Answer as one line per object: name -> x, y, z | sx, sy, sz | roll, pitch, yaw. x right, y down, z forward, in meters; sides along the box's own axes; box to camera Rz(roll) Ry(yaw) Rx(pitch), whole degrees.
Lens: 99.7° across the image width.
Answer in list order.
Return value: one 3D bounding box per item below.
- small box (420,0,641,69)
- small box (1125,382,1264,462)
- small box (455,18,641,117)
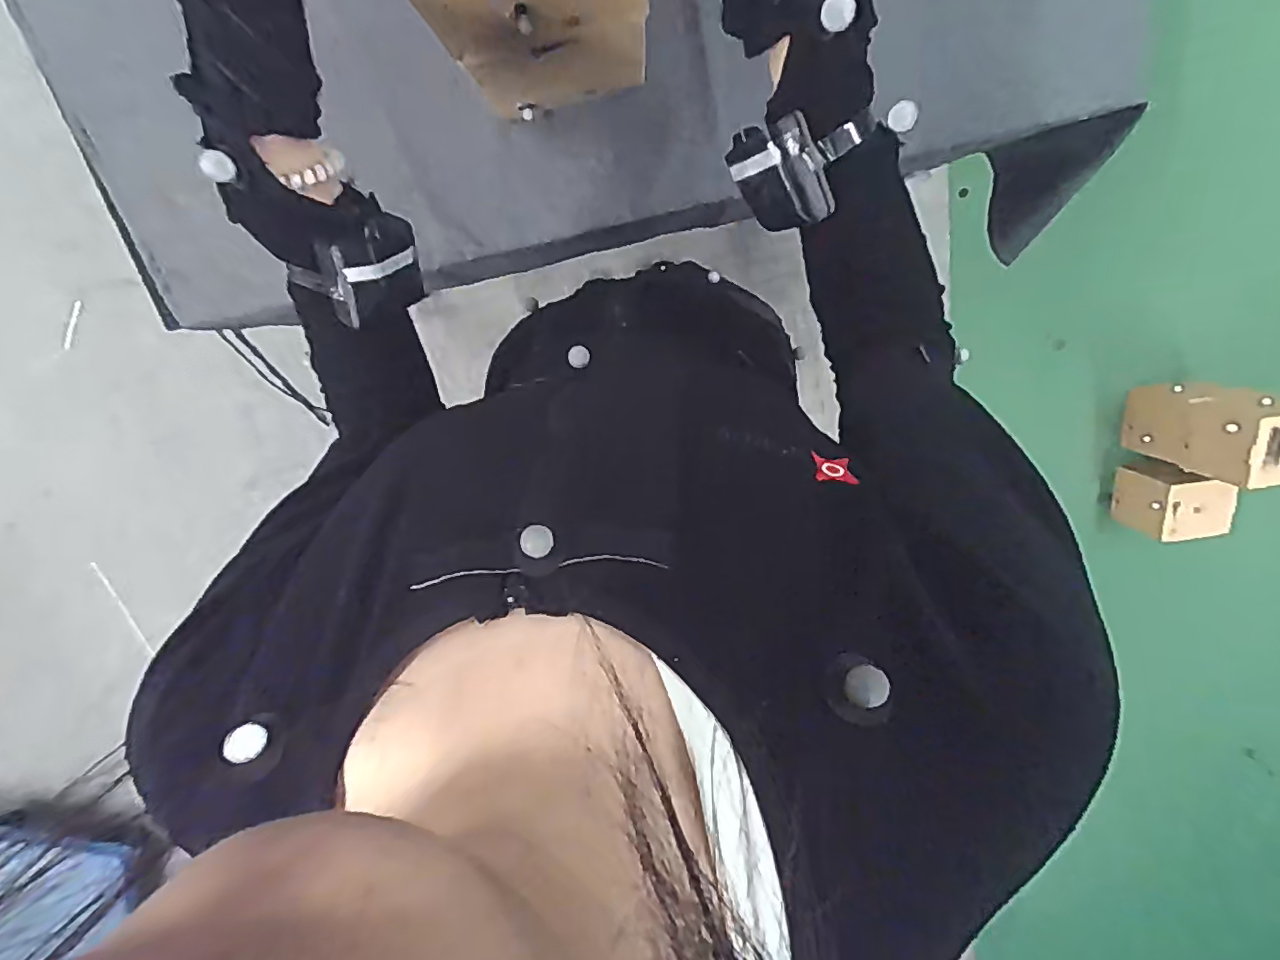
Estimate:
small box -> -0.094, -0.425, 0.363 | 0.168, 0.176, 0.179 | -12, 109, 3
small box -> 1.416, -0.154, 1.397 | 0.179, 0.176, 0.168 | -7, 109, 2
small box -> -0.095, -0.478, 0.517 | 0.168, 0.176, 0.179 | -12, 107, 4
